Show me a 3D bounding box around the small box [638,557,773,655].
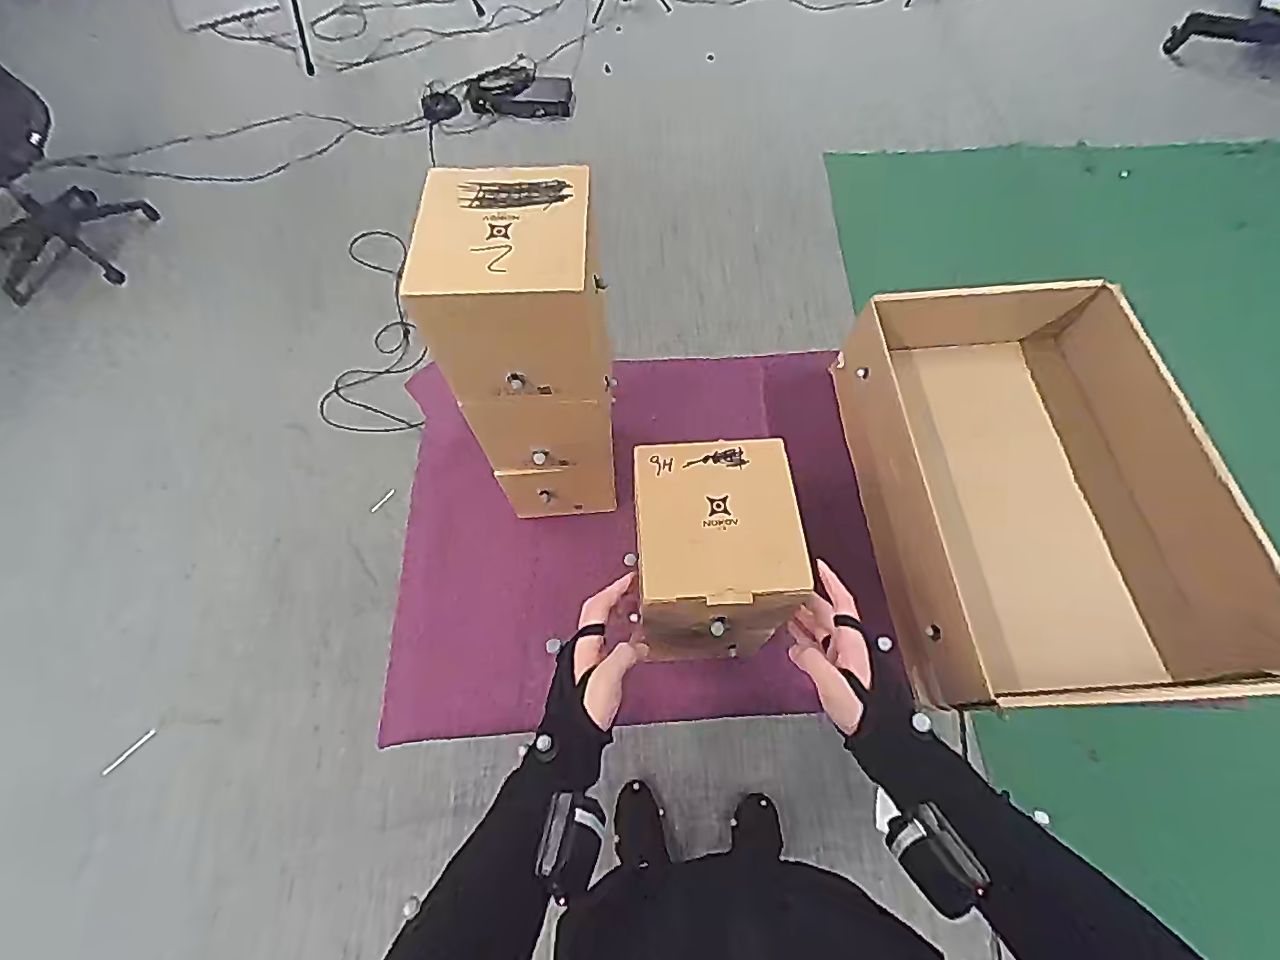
[{"bbox_3d":[0.082,0.148,0.768,0.168,0.176,0.179,-2,62,-1],"label":"small box"}]

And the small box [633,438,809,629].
[{"bbox_3d":[0.080,0.071,0.625,0.168,0.176,0.179,-3,64,-1],"label":"small box"}]

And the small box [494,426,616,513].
[{"bbox_3d":[-0.129,-0.053,0.877,0.168,0.176,0.179,-4,63,-1],"label":"small box"}]

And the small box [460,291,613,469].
[{"bbox_3d":[-0.125,-0.130,0.731,0.168,0.176,0.179,0,64,2],"label":"small box"}]
